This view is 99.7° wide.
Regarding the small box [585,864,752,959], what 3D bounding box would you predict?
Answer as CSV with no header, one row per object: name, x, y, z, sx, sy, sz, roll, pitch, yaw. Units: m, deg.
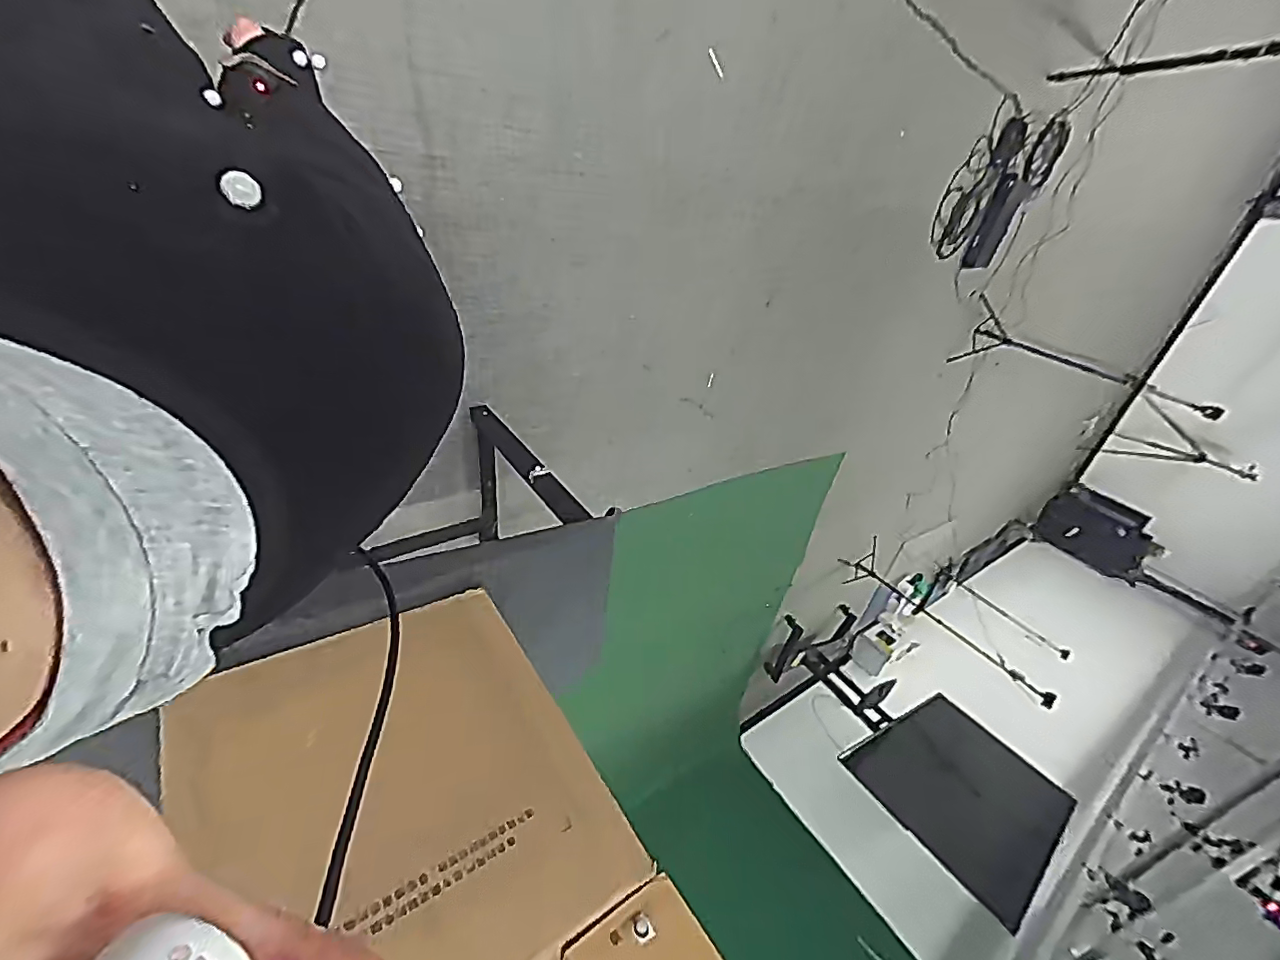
small box,0.034,0.666,0.717,0.168,0.176,0.179,-16,129,-37
